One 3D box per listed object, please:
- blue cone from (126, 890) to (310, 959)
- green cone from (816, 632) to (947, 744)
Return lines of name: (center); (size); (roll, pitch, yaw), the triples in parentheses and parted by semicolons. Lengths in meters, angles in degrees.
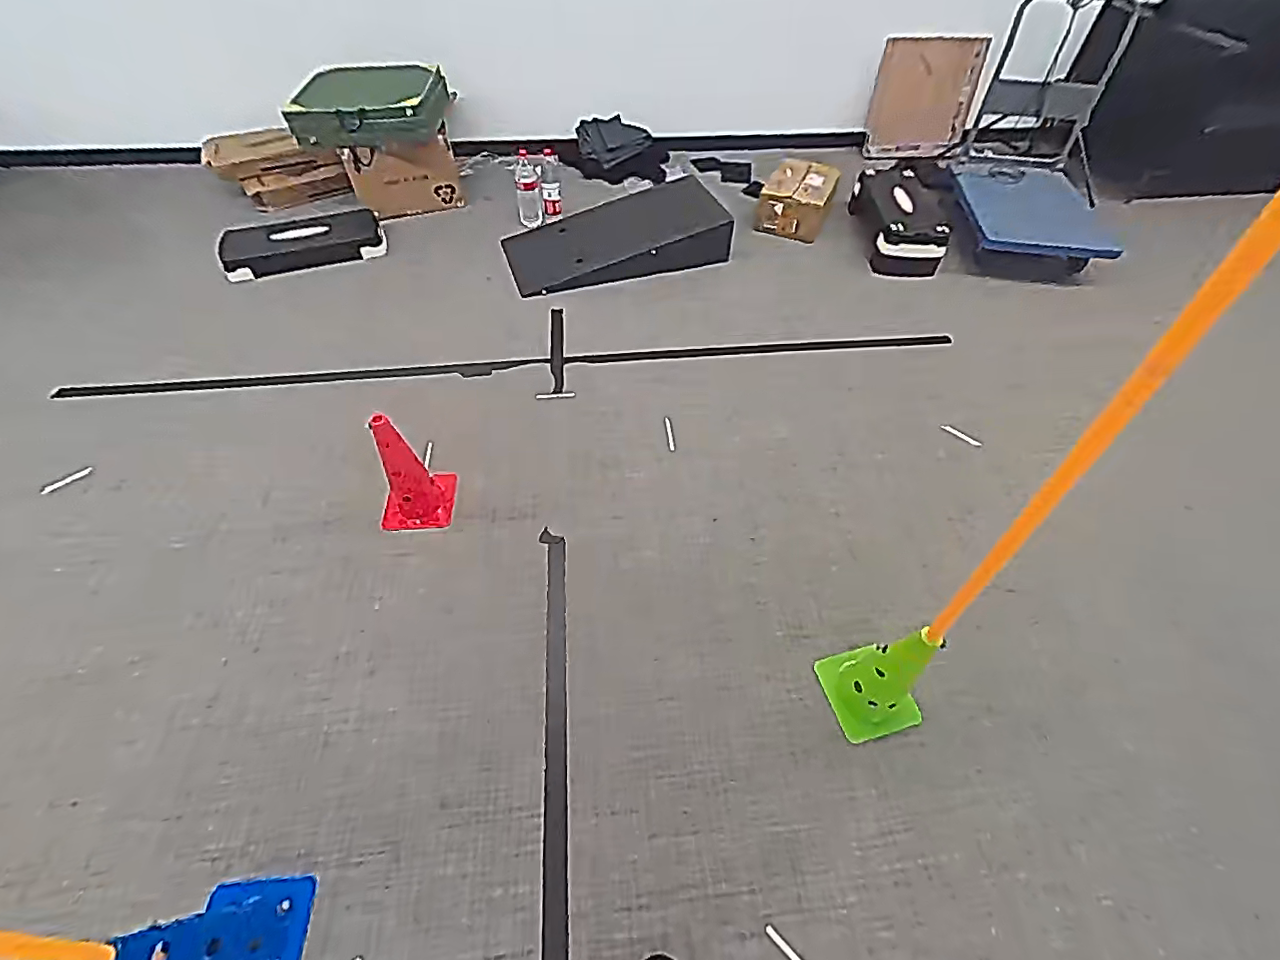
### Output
blue cone: (-0.722, 0.779, 0.869); (0.193, 0.380, 0.192); (-2, 52, -2)
green cone: (0.557, 0.412, 1.175); (0.200, 0.368, 0.202); (-13, 55, -11)
